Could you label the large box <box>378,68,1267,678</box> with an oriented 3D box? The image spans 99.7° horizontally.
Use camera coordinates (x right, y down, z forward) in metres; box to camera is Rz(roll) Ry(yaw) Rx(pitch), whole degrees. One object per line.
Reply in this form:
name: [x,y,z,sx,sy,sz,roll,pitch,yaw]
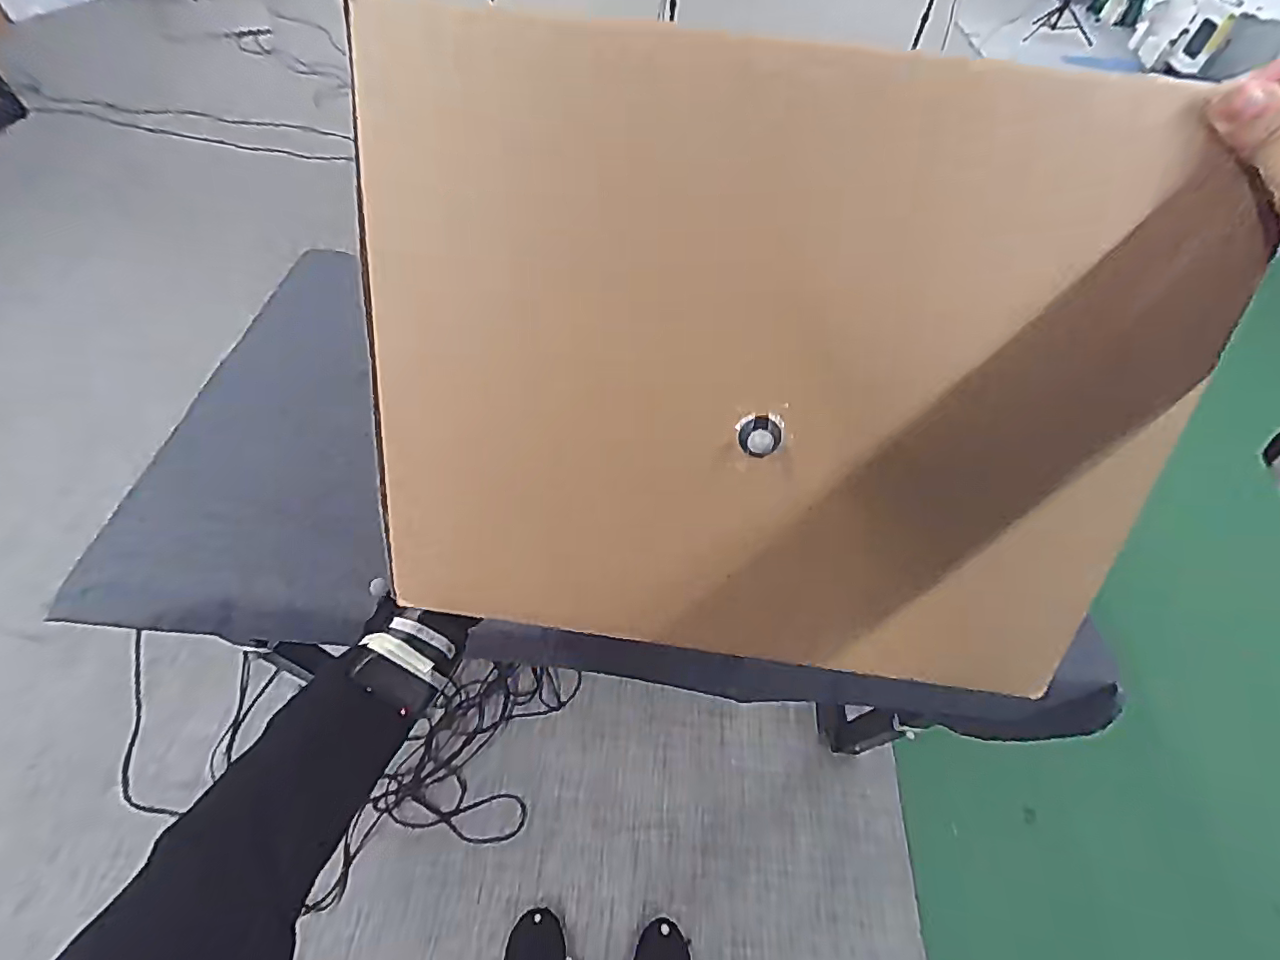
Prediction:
large box: [0.076,-0.081,0.431,0.408,0.320,0.320,6,22,1]
